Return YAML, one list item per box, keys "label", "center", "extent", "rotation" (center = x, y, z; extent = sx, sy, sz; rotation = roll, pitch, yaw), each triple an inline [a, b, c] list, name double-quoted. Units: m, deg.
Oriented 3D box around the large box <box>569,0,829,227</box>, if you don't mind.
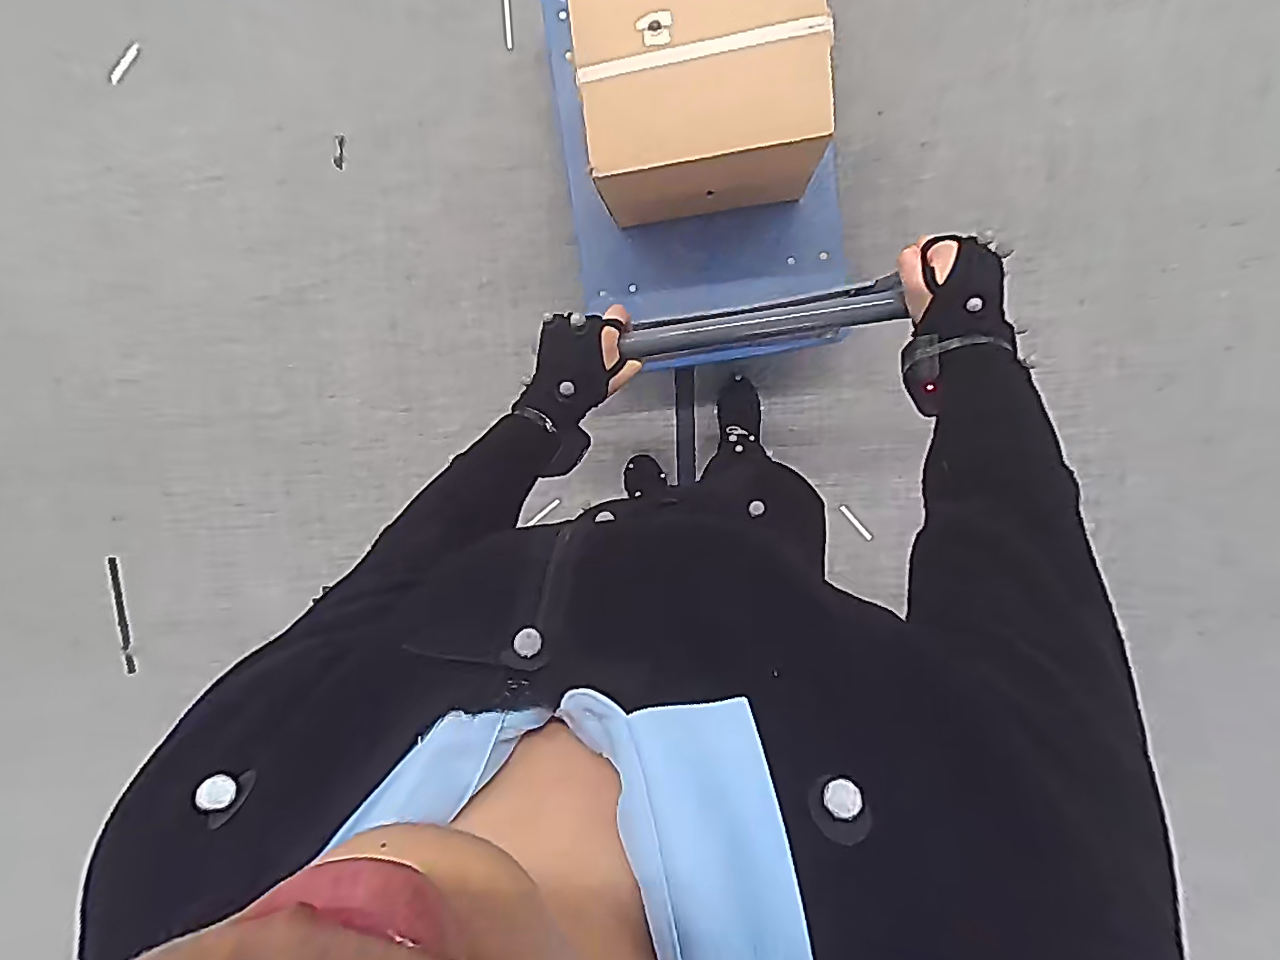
- label: "large box"
  center: [0.115, -0.720, 1.040]
  extent: [0.408, 0.320, 0.320]
  rotation: [-7, 98, 8]
